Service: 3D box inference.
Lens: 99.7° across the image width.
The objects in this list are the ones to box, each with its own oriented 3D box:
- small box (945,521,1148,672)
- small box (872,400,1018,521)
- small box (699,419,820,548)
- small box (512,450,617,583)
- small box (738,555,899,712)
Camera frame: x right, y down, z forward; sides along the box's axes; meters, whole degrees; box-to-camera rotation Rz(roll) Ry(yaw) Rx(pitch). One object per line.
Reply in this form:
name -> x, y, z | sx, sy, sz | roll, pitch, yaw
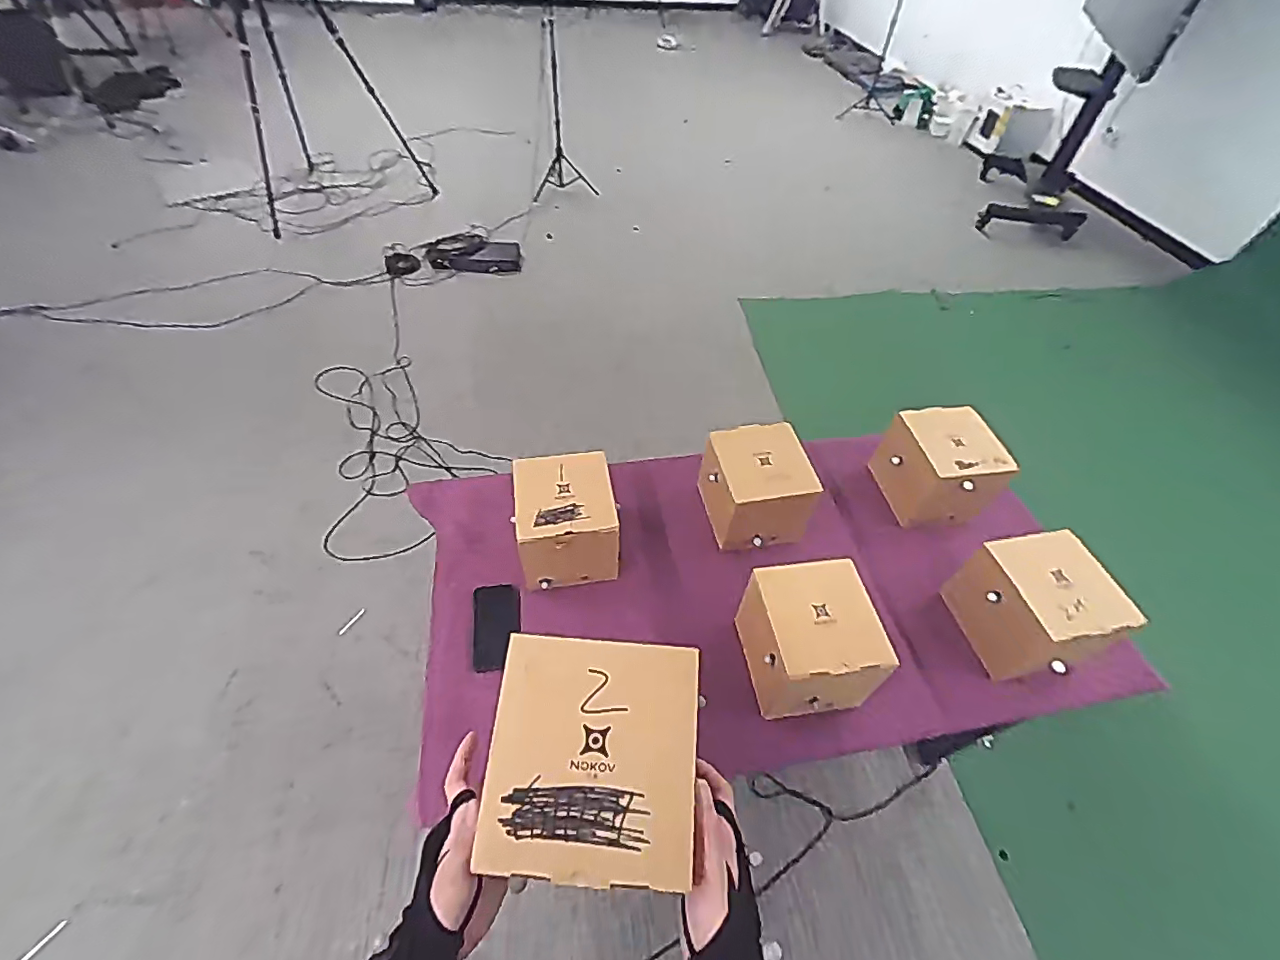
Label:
small box -> 0.655, 0.196, 0.902 | 0.168, 0.176, 0.179 | -8, 52, -8
small box -> 0.602, -0.039, 1.098 | 0.168, 0.176, 0.179 | -6, 51, -7
small box -> 0.219, 0.008, 1.046 | 0.168, 0.176, 0.179 | -8, 52, -8
small box -> -0.134, 0.072, 0.976 | 0.168, 0.176, 0.179 | -7, 51, -9
small box -> 0.264, 0.242, 0.852 | 0.168, 0.176, 0.179 | -6, 50, -7
